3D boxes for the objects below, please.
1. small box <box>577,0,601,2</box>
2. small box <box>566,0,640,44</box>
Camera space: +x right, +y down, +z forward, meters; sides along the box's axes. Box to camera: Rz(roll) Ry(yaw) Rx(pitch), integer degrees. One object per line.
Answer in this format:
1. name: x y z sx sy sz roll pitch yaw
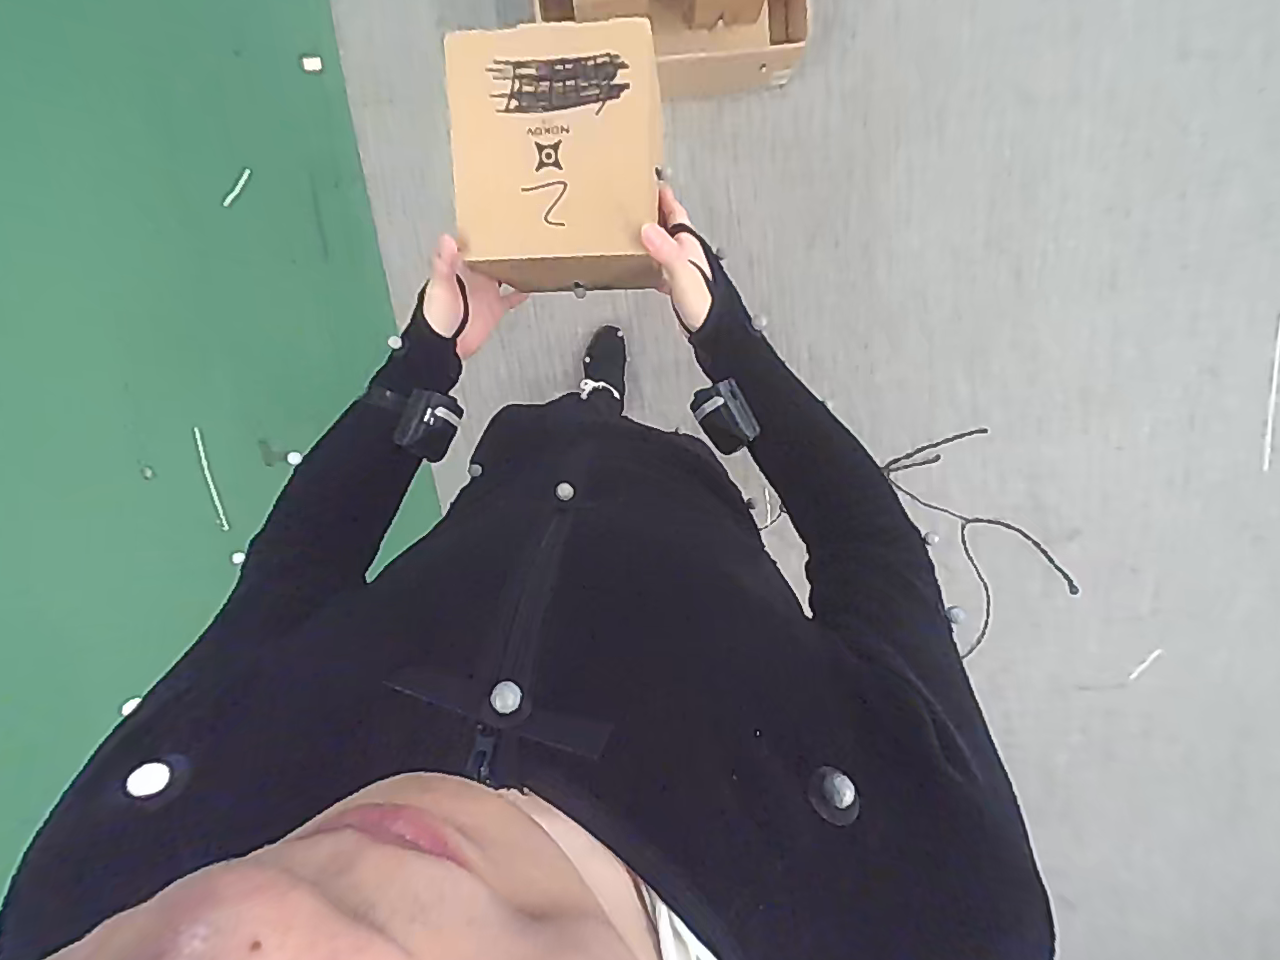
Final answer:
1. small box: -0.078 -1.098 1.076 0.168 0.176 0.179 -7 102 -1
2. small box: -0.088 -1.133 1.232 0.168 0.176 0.179 -6 103 -1
